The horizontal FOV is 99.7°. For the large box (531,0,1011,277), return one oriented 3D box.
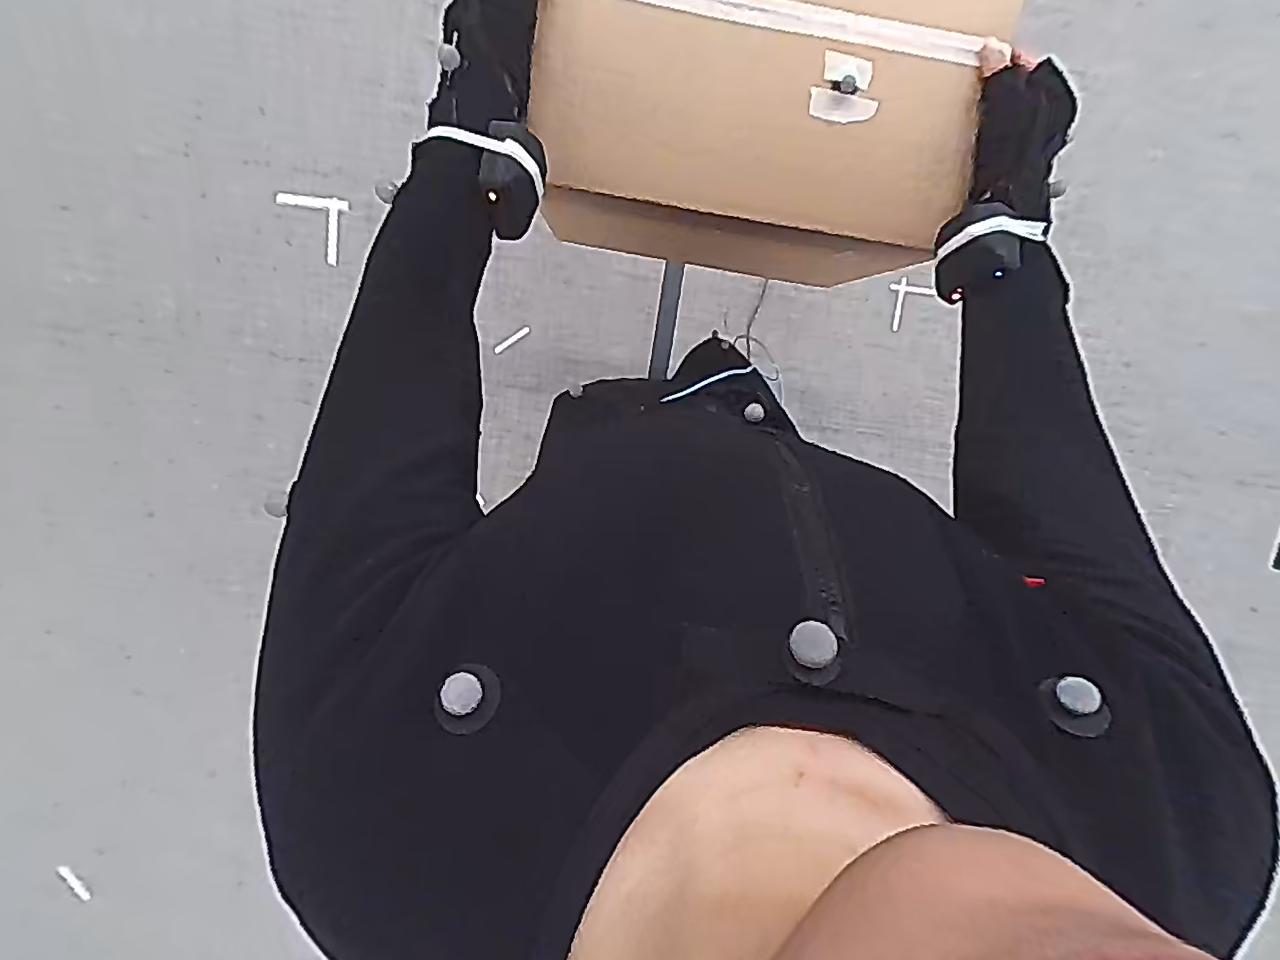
[{"bbox_3d":[0.108,-0.433,0.606,0.408,0.320,0.320,8,105,-5],"label":"large box"}]
